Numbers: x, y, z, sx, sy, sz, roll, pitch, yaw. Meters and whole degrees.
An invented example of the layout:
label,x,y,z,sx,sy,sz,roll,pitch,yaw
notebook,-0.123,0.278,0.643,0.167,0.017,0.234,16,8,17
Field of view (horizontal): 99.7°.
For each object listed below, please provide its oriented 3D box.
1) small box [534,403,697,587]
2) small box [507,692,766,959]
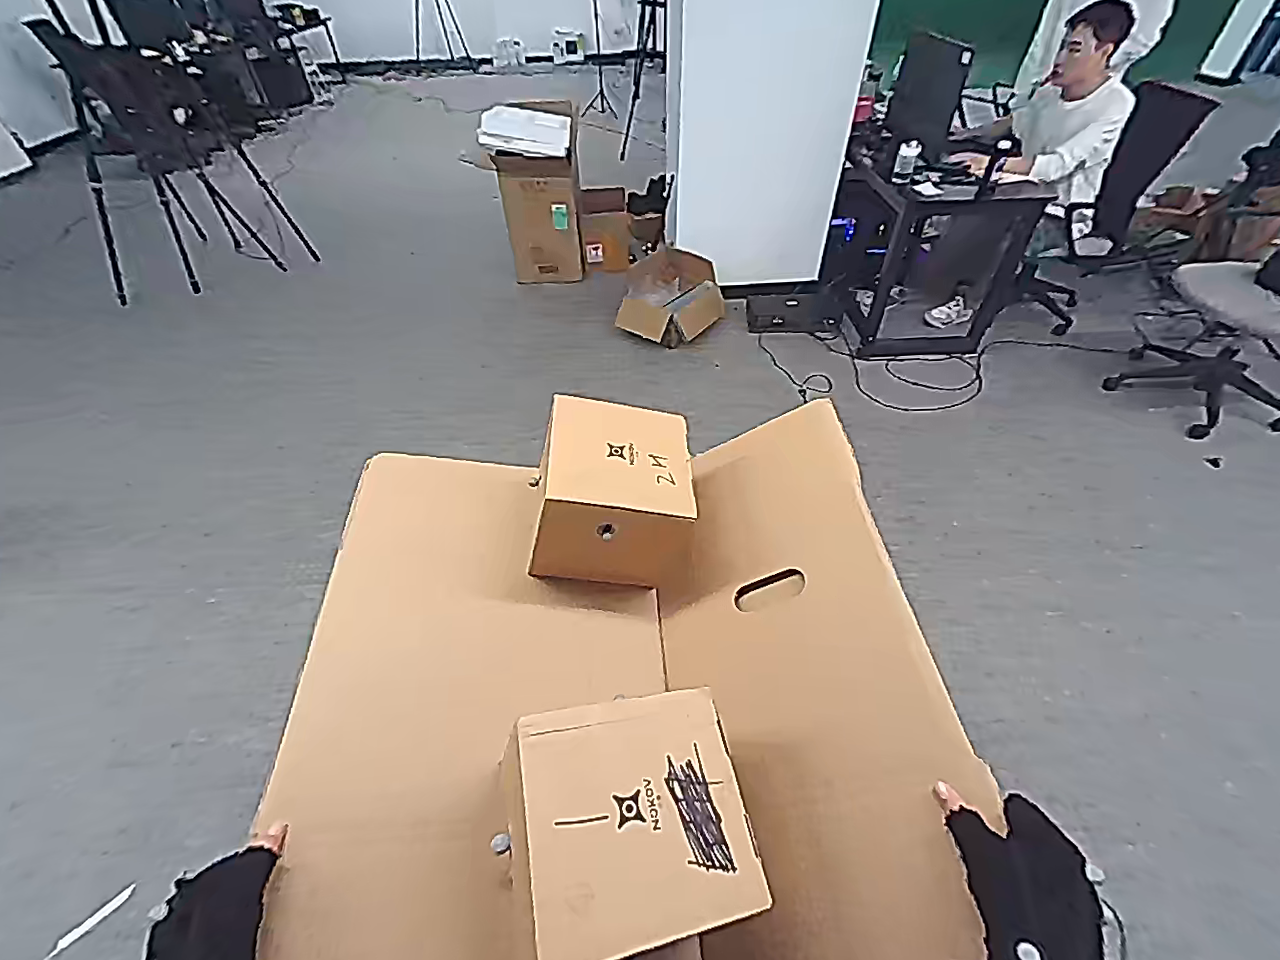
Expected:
label,x,y,z,sx,sy,sz,roll,pitch,yaw
small box,-0.039,0.027,0.713,0.179,0.176,0.168,10,50,-13
small box,-0.020,0.308,0.488,0.179,0.176,0.168,-1,53,-19
